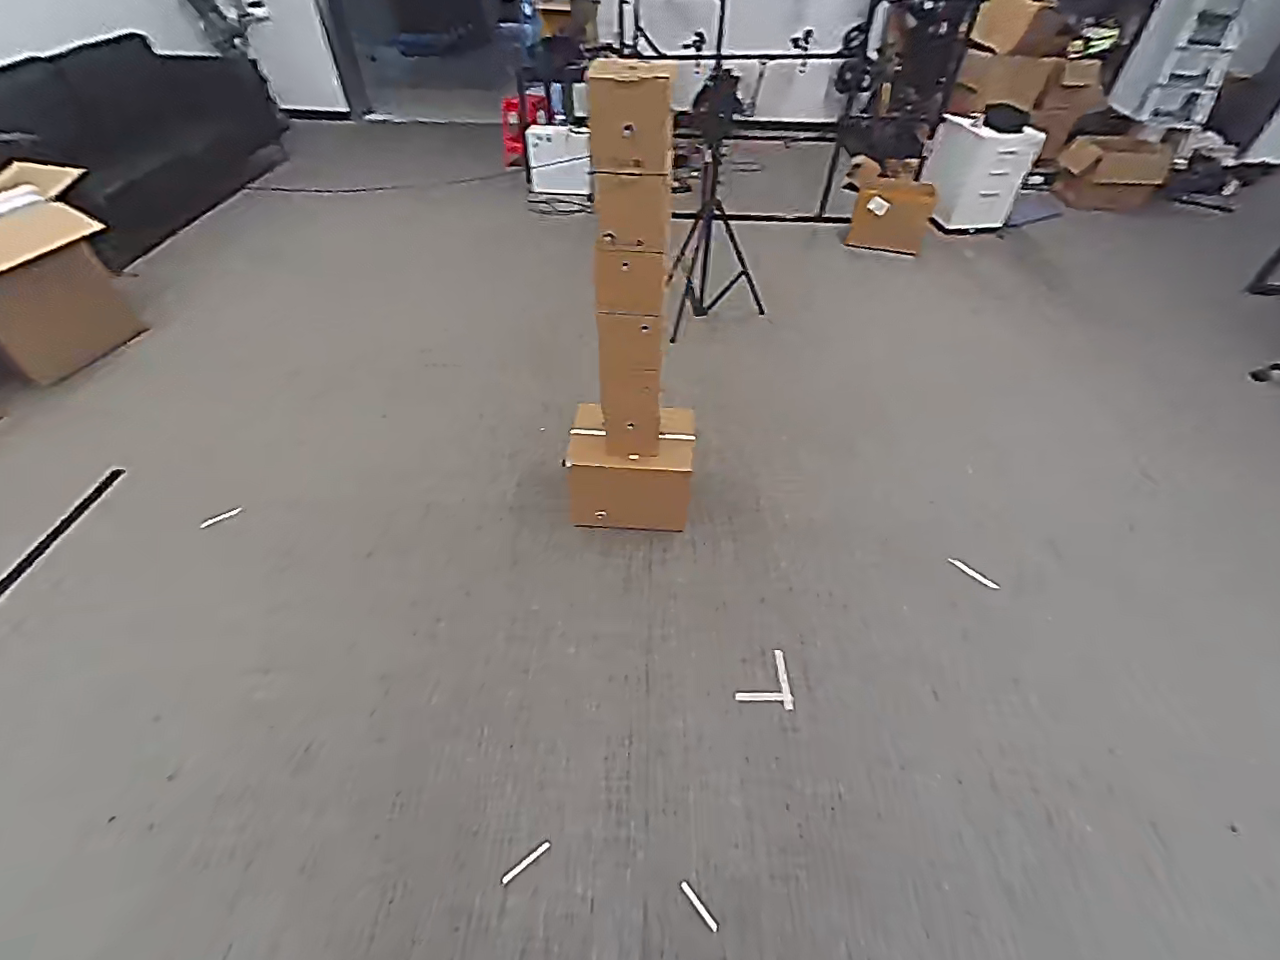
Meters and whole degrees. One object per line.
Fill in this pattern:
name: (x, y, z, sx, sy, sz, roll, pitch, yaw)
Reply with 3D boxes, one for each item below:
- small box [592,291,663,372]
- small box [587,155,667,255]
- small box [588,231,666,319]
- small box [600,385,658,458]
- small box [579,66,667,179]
small box: (-0.031, -0.414, 1.495, 0.179, 0.176, 0.168, 4, 46, 3)
small box: (-0.024, -0.640, 1.260, 0.168, 0.176, 0.179, 4, 46, 3)
small box: (-0.029, -0.526, 1.379, 0.179, 0.176, 0.168, 4, 47, 3)
small box: (-0.032, -0.184, 1.730, 0.179, 0.176, 0.168, 2, 47, 0)
small box: (-0.029, -0.752, 1.141, 0.168, 0.176, 0.179, 3, 48, 2)
